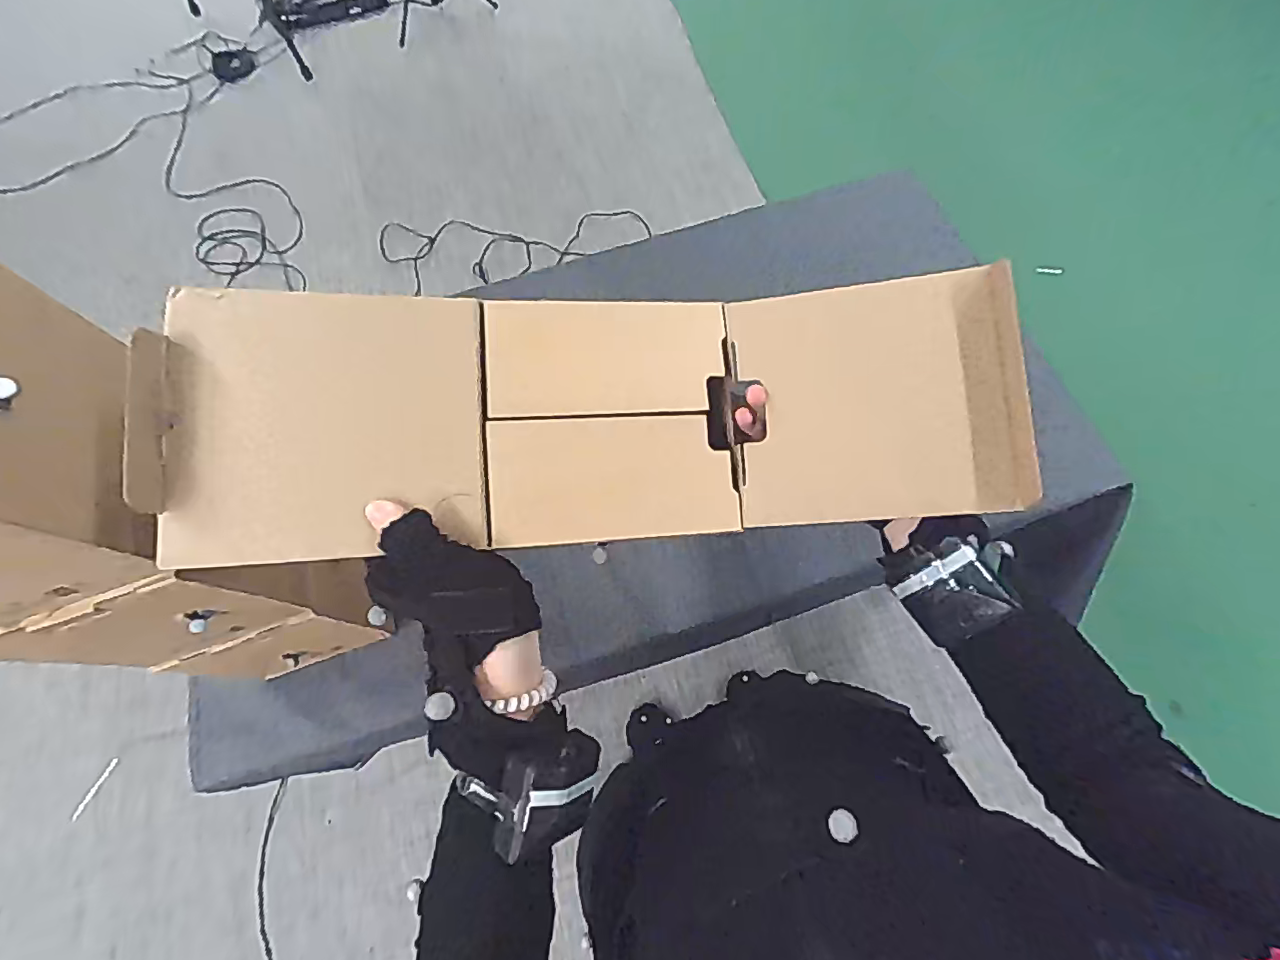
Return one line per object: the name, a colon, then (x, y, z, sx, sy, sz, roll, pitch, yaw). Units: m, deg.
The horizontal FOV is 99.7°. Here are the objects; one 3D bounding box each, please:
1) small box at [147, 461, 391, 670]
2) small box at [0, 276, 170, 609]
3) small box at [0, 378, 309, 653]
small box: (-0.416, 0.108, 0.628, 0.168, 0.176, 0.179, -19, 70, -4)
small box: (-0.433, -0.021, 0.327, 0.168, 0.176, 0.179, -19, 69, -6)
small box: (-0.423, 0.045, 0.477, 0.168, 0.176, 0.179, -18, 69, -5)
